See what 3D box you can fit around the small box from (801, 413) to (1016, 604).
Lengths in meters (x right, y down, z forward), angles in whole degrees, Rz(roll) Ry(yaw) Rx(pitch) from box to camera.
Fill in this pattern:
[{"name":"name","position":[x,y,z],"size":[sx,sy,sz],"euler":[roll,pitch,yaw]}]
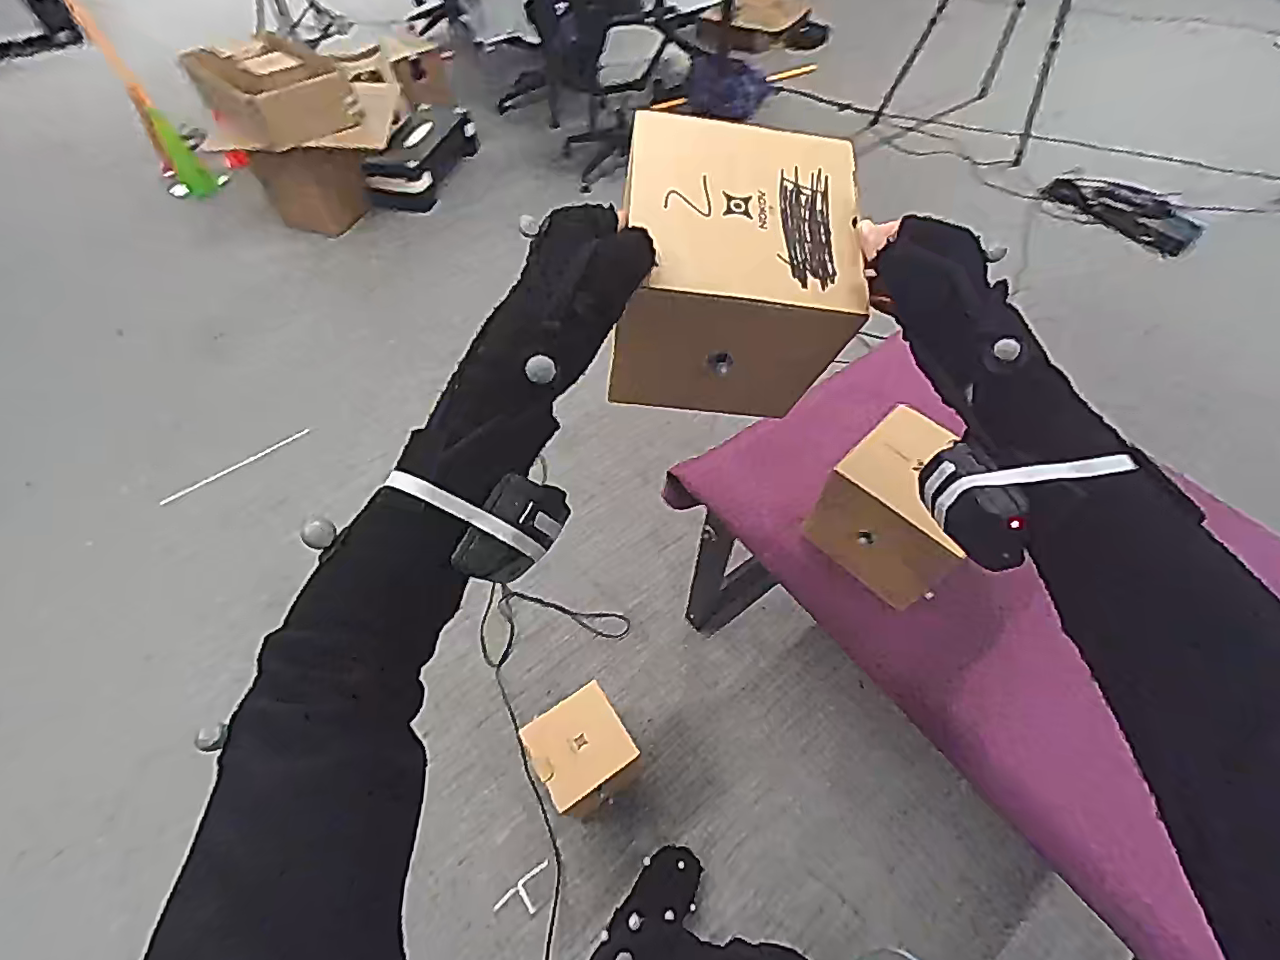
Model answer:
[{"name":"small box","position":[0.355,0.048,0.746],"size":[0.168,0.176,0.179],"euler":[-37,64,-24]}]
